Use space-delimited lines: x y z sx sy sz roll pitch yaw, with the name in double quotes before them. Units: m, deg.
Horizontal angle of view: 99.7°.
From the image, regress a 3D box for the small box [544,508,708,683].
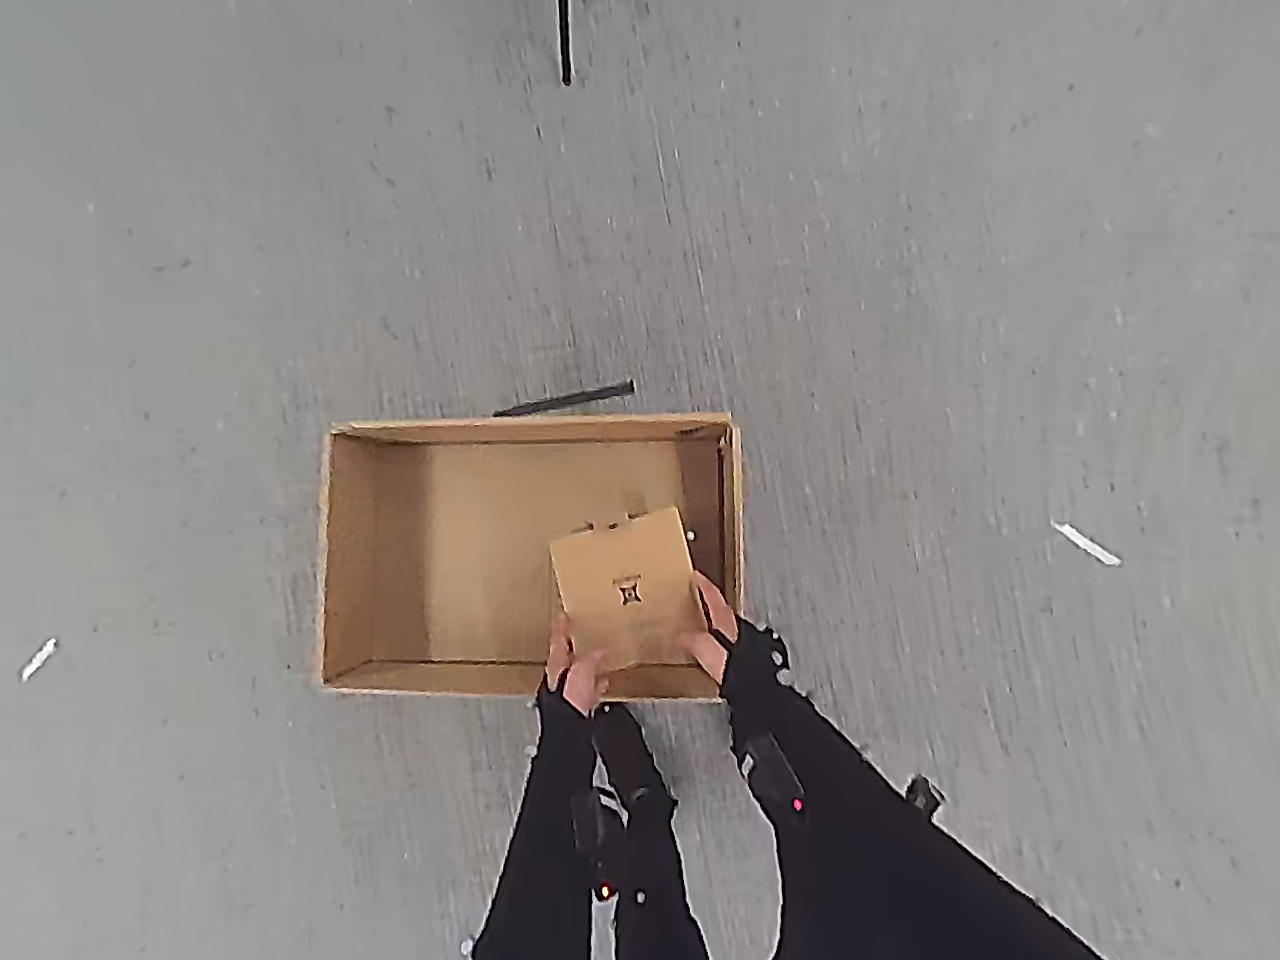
"small box" -0.015 0.145 0.718 0.168 0.176 0.179 -15 84 2
